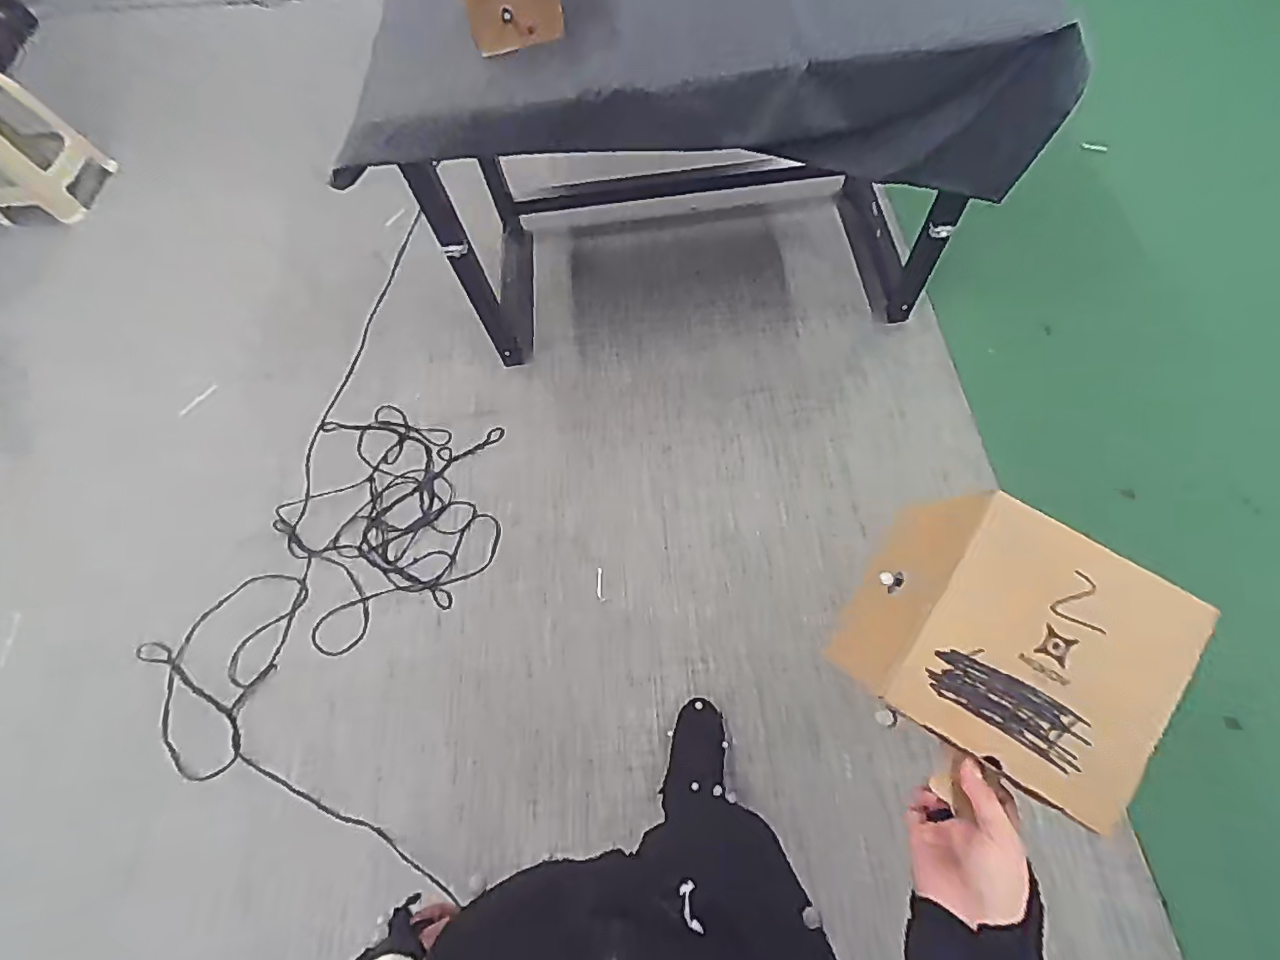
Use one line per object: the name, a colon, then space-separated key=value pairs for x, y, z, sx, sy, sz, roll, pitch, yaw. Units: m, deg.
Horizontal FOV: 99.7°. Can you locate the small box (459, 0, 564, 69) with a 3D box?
small box: x=-0.244 y=-0.884 z=0.968 sx=0.168 sy=0.176 sz=0.179 roll=-16 pitch=65 yaw=-3
